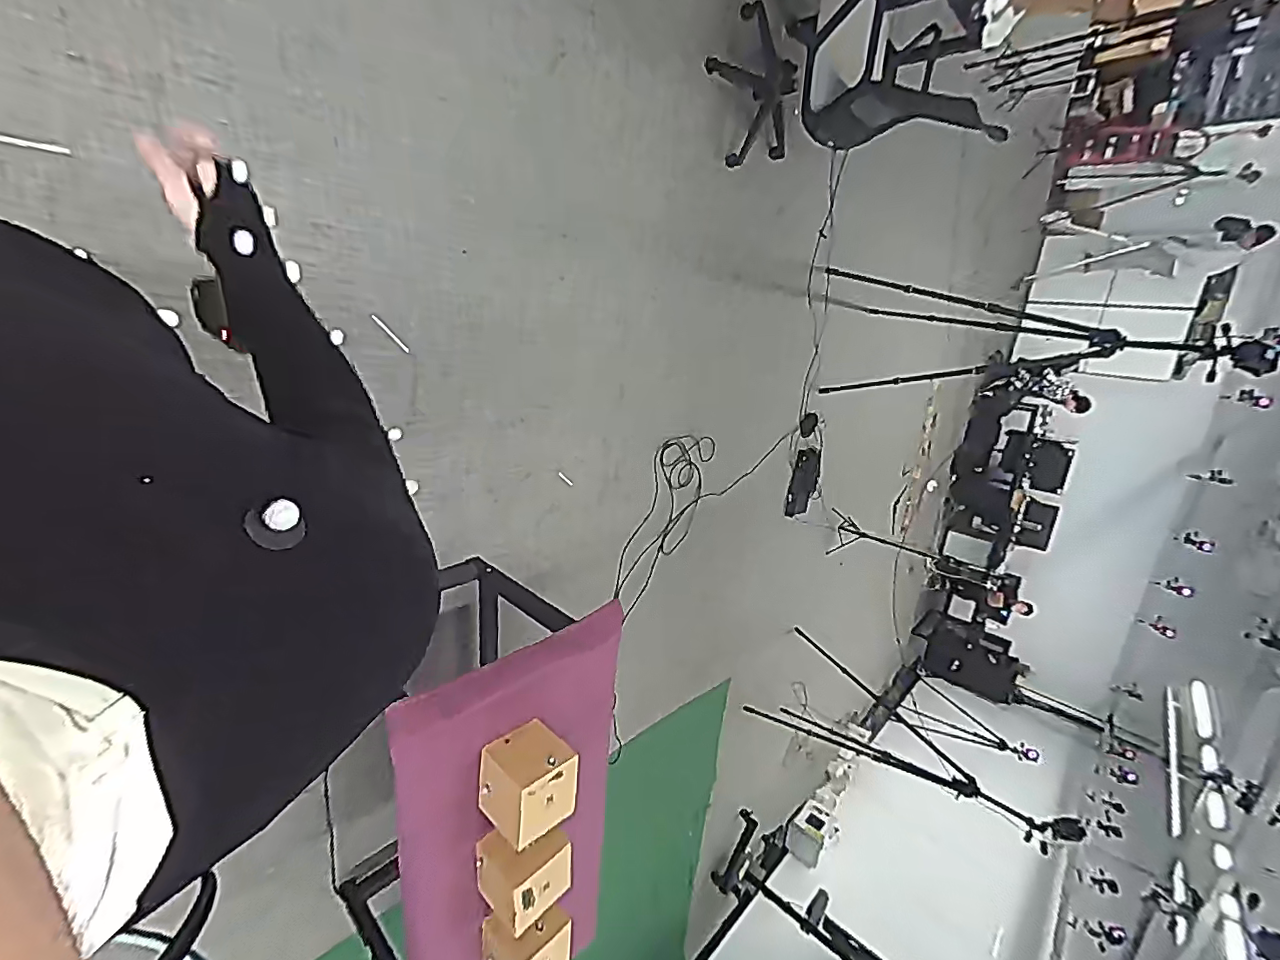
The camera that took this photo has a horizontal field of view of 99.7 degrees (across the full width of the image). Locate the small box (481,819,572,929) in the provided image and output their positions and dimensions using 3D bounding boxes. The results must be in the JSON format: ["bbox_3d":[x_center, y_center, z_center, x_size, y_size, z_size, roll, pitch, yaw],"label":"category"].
[{"bbox_3d":[-0.295,0.976,1.391,0.179,0.176,0.168,-18,118,-45],"label":"small box"}]

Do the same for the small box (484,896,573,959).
[{"bbox_3d":[-0.307,1.247,1.486,0.179,0.176,0.168,-13,114,-46],"label":"small box"}]

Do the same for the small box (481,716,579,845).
[{"bbox_3d":[-0.271,0.720,1.316,0.168,0.176,0.179,-11,114,-47],"label":"small box"}]
